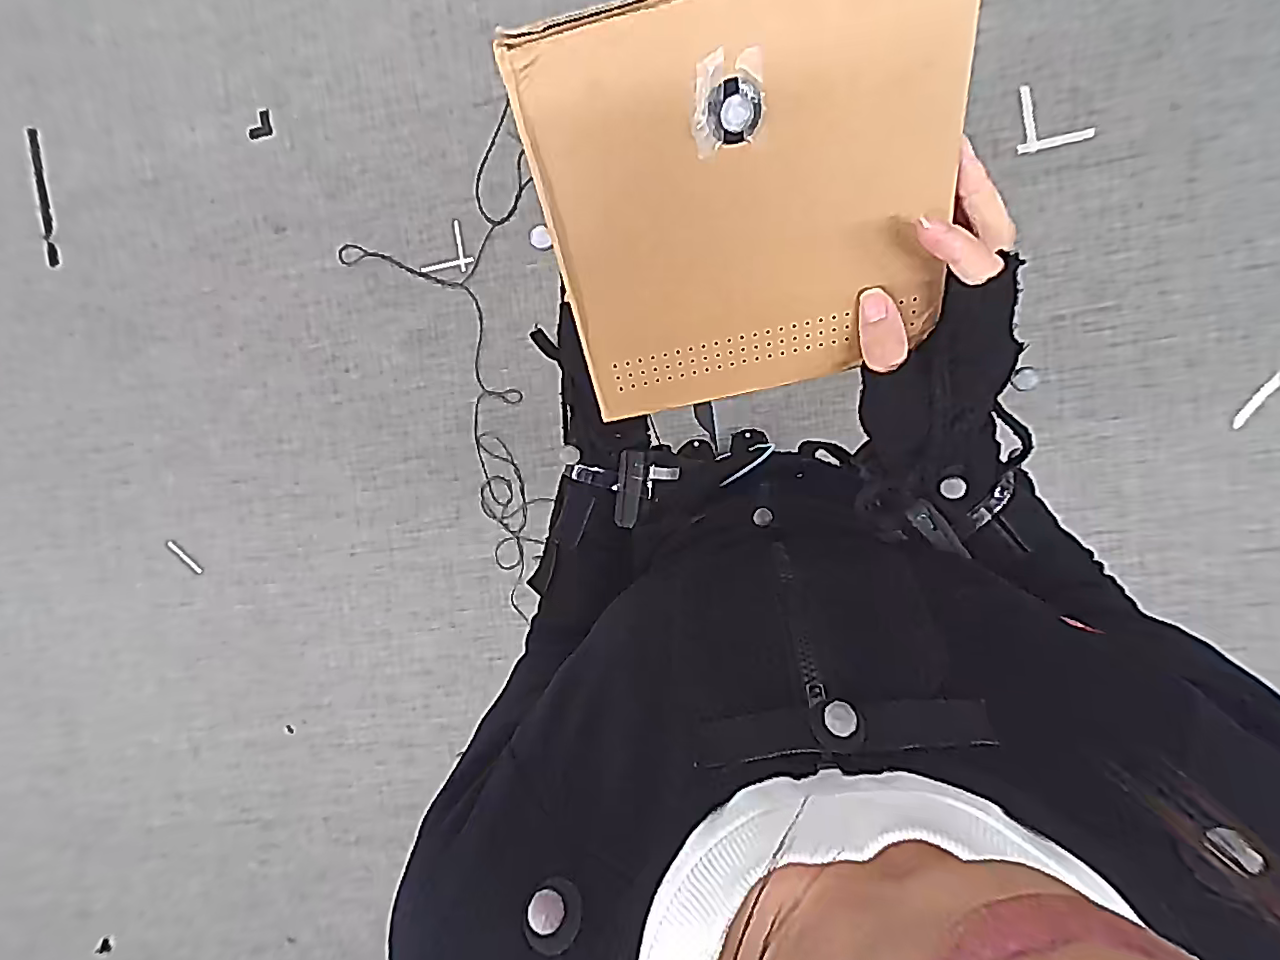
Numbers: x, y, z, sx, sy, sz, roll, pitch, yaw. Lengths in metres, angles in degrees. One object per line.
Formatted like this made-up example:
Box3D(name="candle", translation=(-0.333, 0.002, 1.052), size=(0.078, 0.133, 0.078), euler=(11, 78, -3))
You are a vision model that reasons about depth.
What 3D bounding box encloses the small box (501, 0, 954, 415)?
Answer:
Box3D(name="small box", translation=(0.046, -0.154, 0.302), size=(0.179, 0.168, 0.176), euler=(-11, 127, 5))
